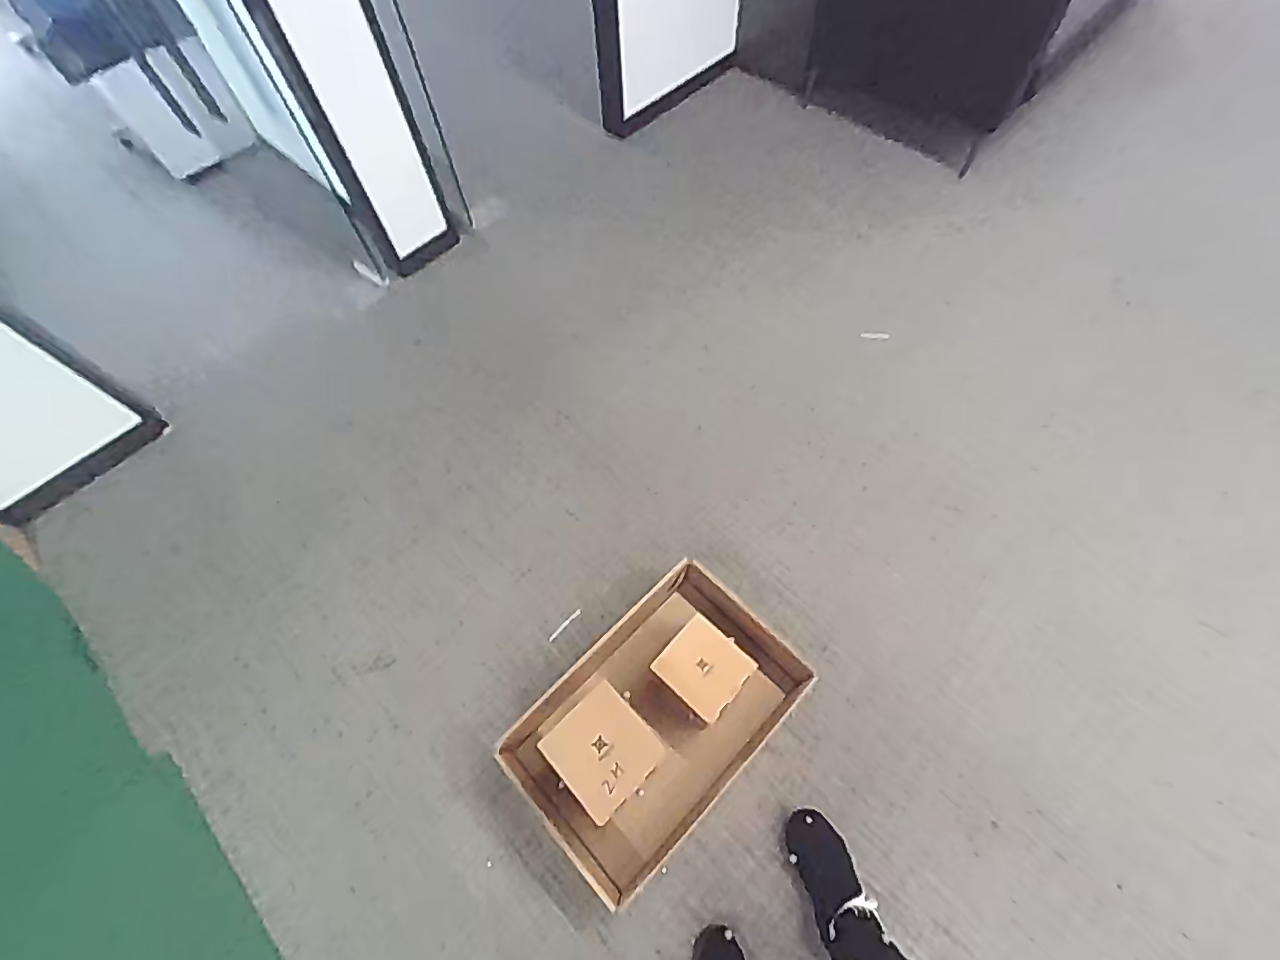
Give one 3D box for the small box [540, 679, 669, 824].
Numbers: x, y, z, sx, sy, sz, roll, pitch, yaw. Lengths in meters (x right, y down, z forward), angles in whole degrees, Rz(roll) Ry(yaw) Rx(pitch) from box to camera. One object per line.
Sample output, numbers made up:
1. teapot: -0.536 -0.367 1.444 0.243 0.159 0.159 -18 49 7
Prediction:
1. small box: -0.063 0.514 1.026 0.168 0.176 0.179 -40 68 -18
